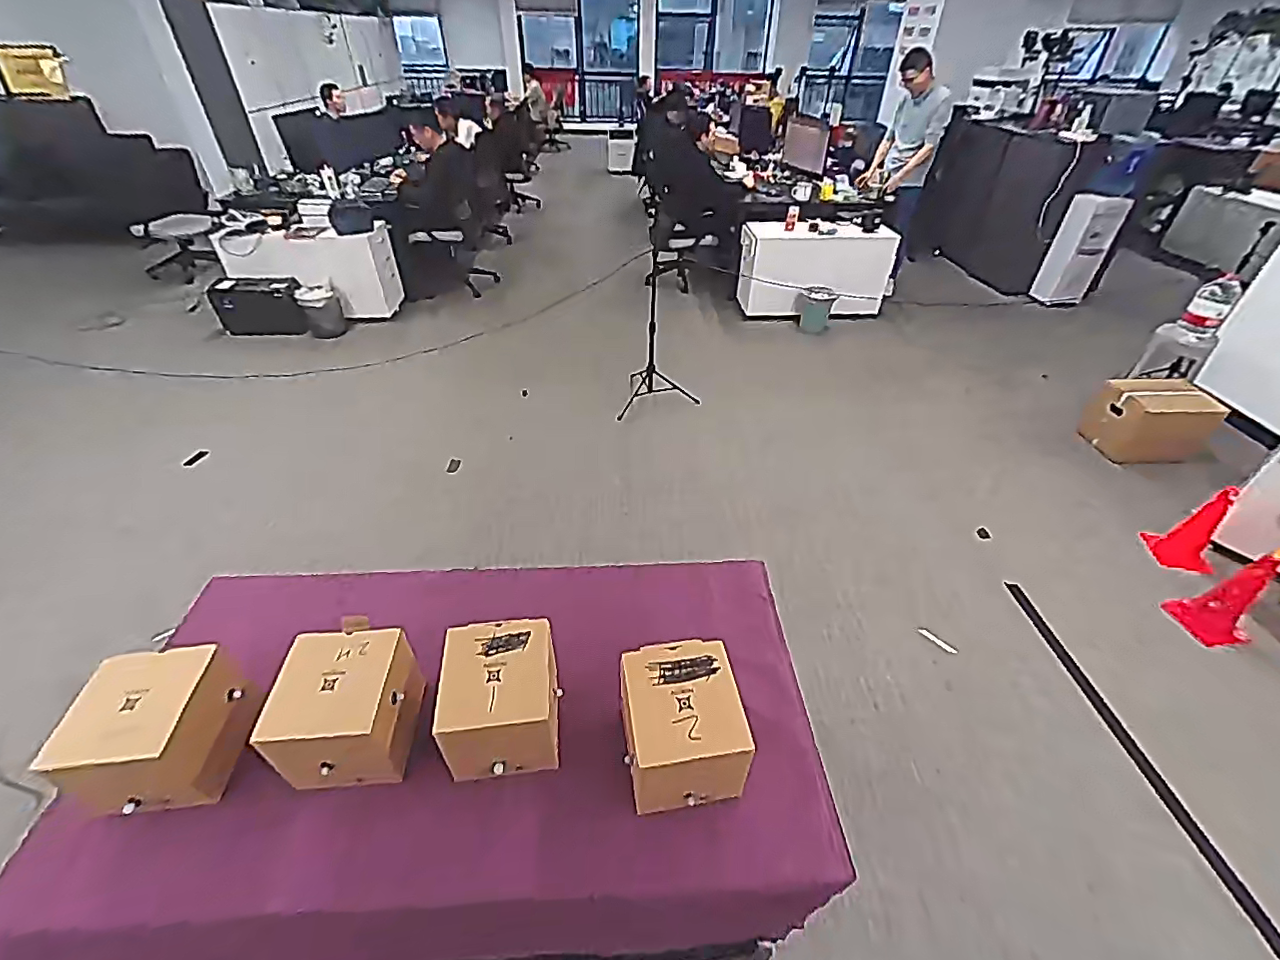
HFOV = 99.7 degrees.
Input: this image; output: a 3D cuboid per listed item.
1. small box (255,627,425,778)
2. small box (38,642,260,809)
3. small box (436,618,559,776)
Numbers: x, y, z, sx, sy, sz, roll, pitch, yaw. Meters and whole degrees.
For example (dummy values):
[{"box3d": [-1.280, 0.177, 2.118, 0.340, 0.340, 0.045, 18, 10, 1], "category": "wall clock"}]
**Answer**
[{"box3d": [-0.464, 0.362, 0.873, 0.168, 0.176, 0.179, -2, 39, -4], "category": "small box"}, {"box3d": [-0.736, 0.380, 0.844, 0.168, 0.176, 0.179, -3, 40, -5], "category": "small box"}, {"box3d": [-0.223, 0.355, 0.890, 0.168, 0.176, 0.179, -4, 40, -6], "category": "small box"}]
